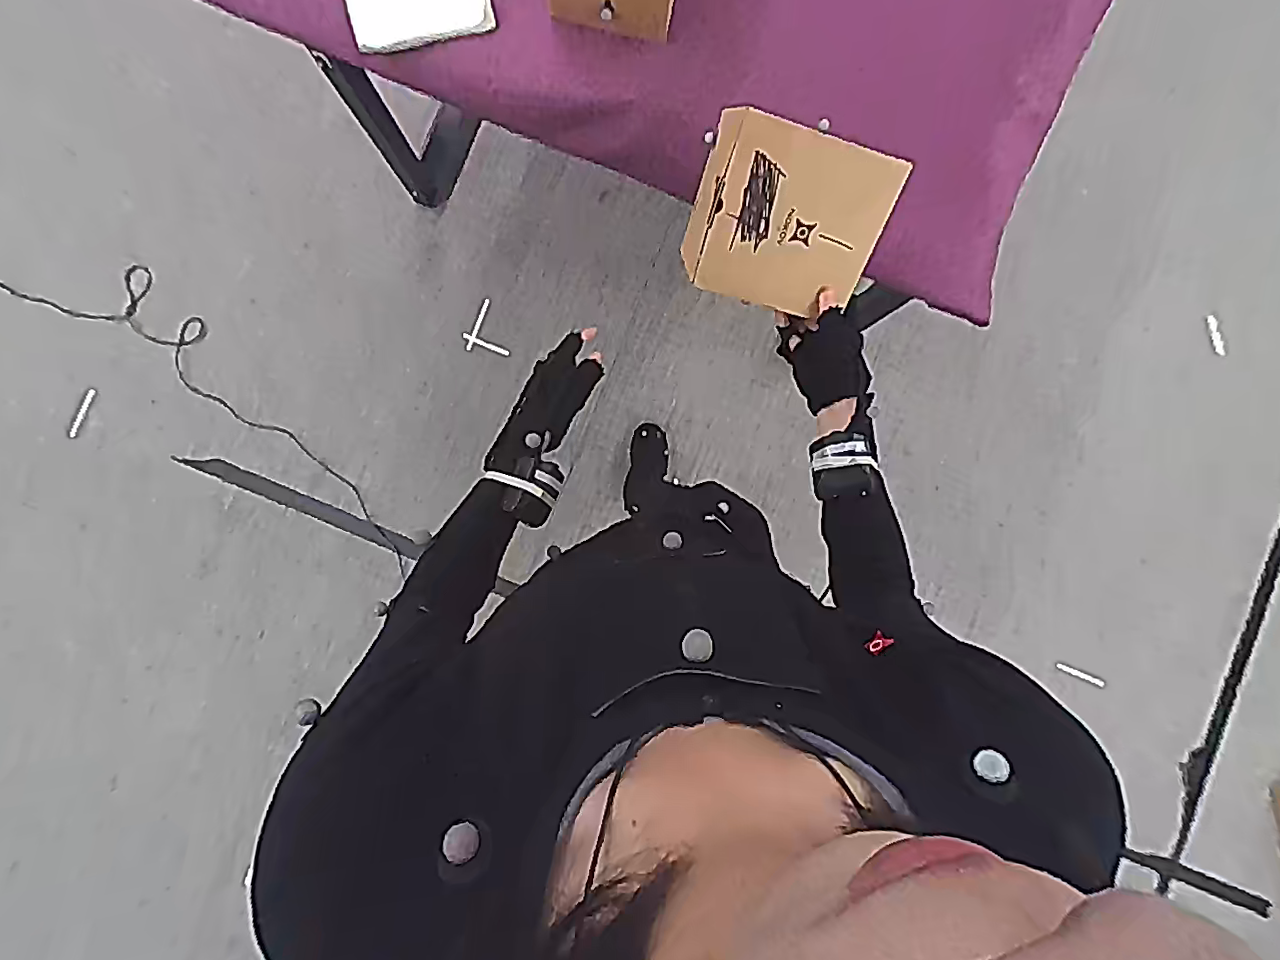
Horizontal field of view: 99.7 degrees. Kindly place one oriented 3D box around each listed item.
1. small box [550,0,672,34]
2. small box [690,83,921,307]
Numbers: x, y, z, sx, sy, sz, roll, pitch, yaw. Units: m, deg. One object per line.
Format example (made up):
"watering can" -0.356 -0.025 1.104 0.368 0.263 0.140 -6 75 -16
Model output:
"small box" -0.027 -0.745 0.713 0.179 0.176 0.168 11 88 -3
"small box" 0.163 -0.317 0.607 0.179 0.176 0.168 13 123 -8
